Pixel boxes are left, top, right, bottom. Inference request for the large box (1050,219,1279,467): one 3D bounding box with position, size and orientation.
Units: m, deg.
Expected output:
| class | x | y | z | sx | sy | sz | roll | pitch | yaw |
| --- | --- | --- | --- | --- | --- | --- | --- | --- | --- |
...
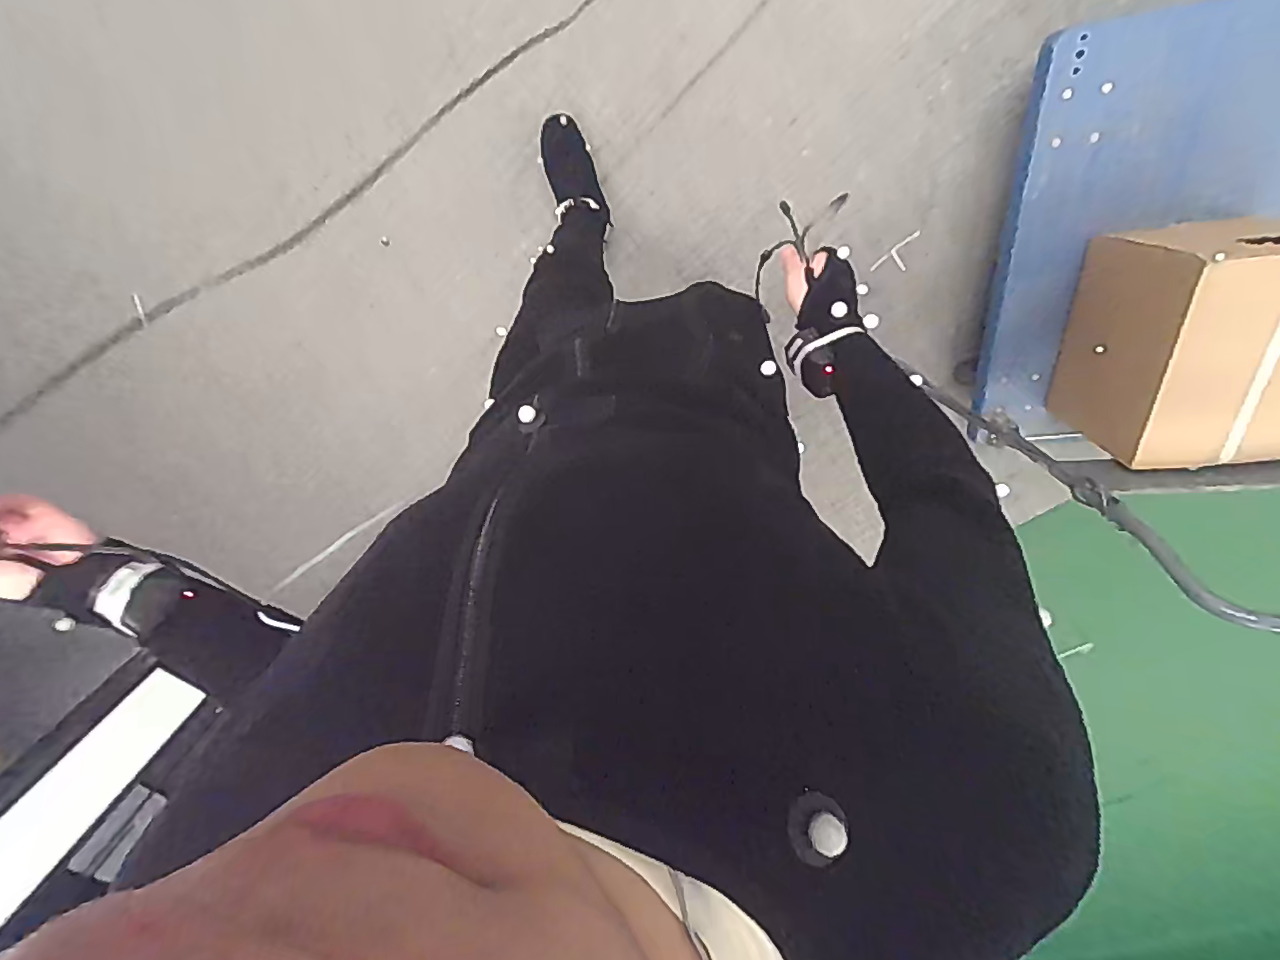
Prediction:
| class | x | y | z | sx | sy | sz | roll | pitch | yaw |
| --- | --- | --- | --- | --- | --- | --- | --- | --- | --- |
| large box | 1.115 | -0.279 | 1.094 | 0.320 | 0.320 | 0.408 | -4 | 120 | 8 |
